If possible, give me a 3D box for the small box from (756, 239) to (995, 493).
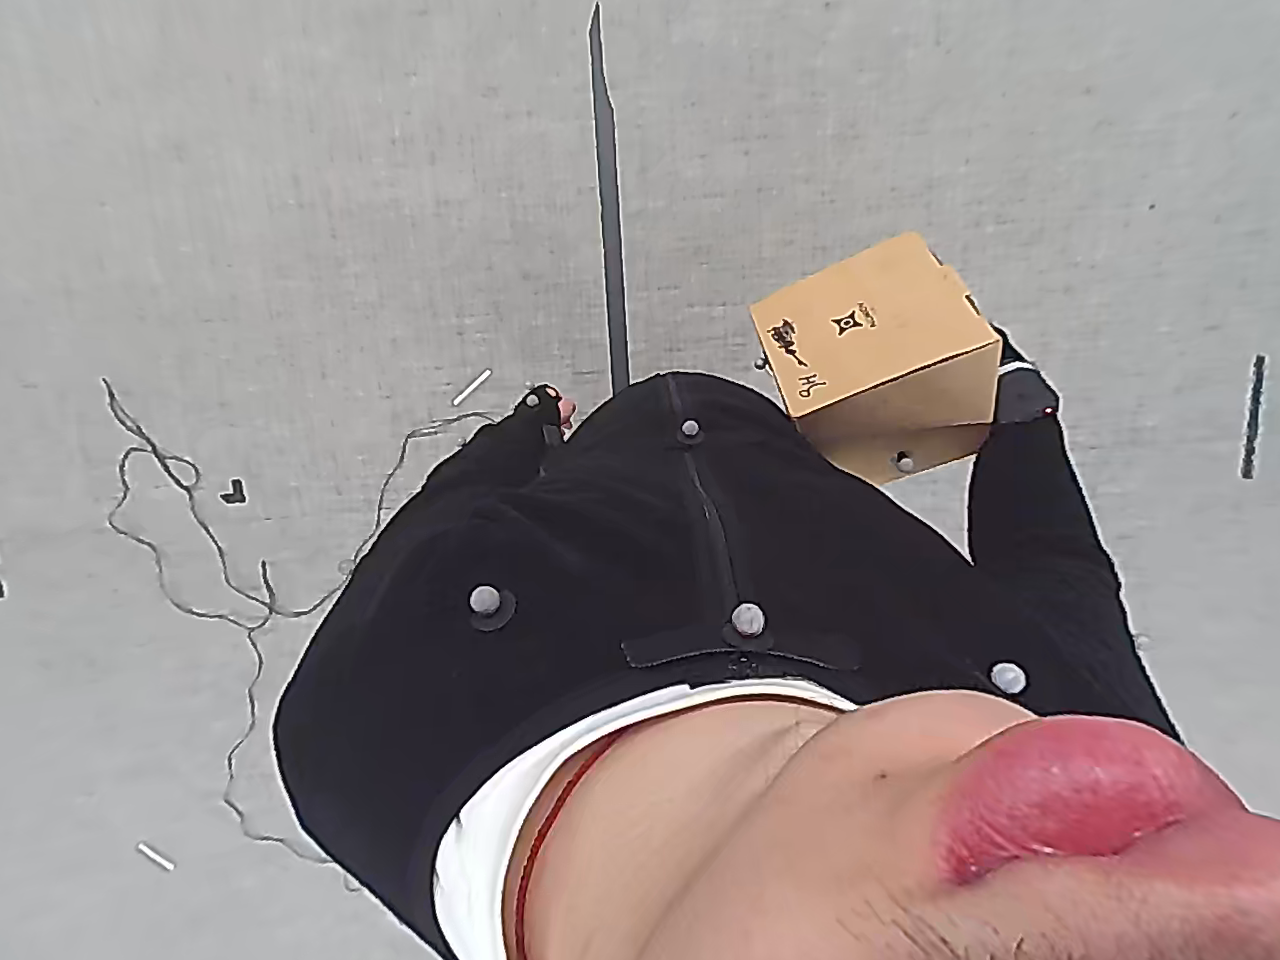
[{"bbox_3d":[0.247,-0.113,0.586,0.179,0.168,0.176,-21,142,16],"label":"small box"}]
